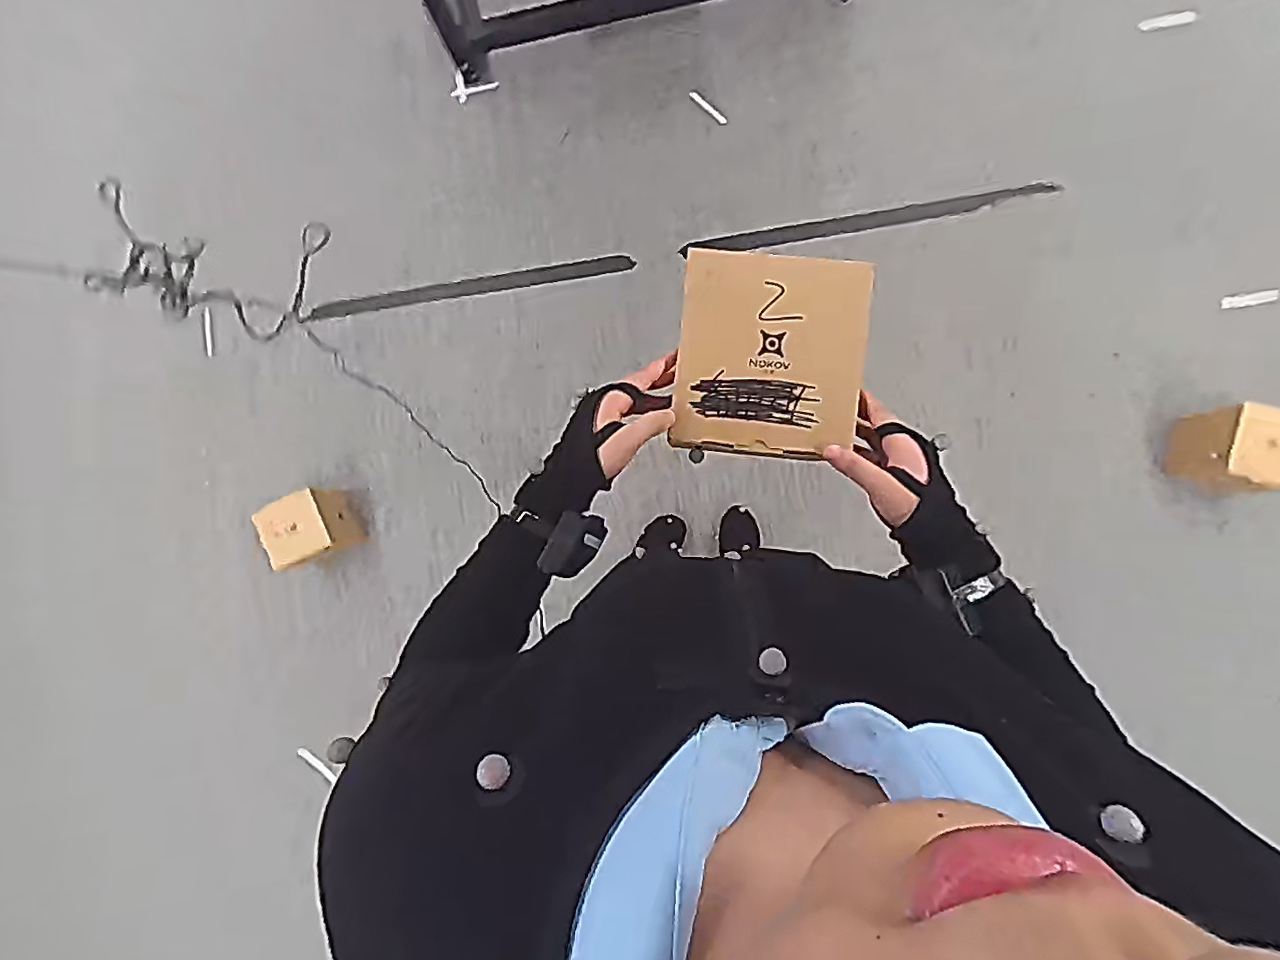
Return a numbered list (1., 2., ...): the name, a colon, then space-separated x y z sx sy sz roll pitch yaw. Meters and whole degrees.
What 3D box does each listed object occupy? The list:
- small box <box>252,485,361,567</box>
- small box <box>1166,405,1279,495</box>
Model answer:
1. small box: -0.904 0.123 1.487 0.179 0.176 0.168 -25 86 2
2. small box: 1.472 -0.067 1.340 0.168 0.176 0.179 16 88 4
